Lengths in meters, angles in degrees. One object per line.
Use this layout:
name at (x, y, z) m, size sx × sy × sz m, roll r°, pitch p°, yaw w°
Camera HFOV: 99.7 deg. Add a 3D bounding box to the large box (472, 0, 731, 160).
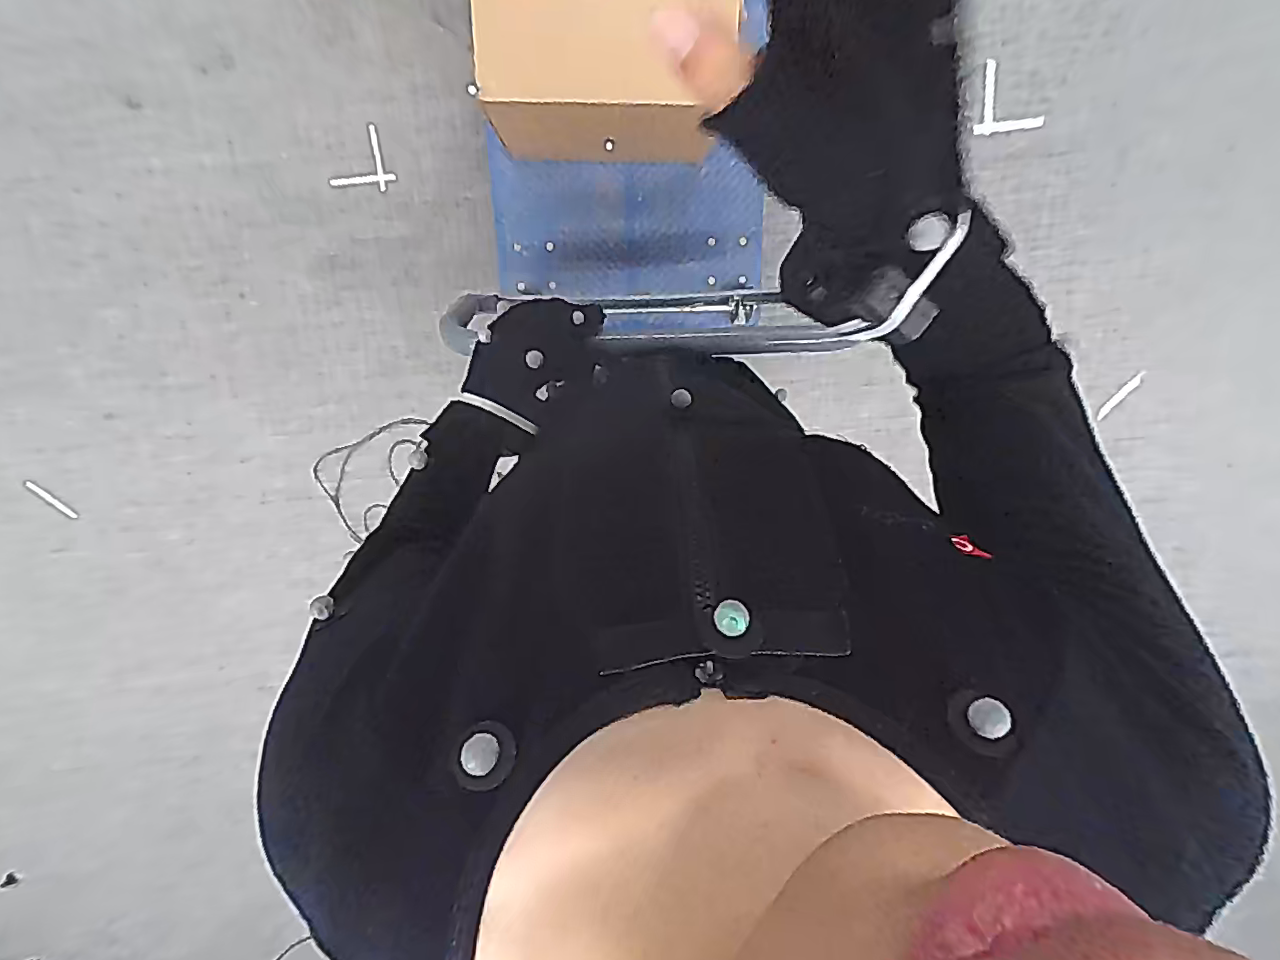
large box at (-0.061, -0.782, 0.961) m, size 0.408 × 0.320 × 0.320 m, roll -1°, pitch 105°, yaw -2°
